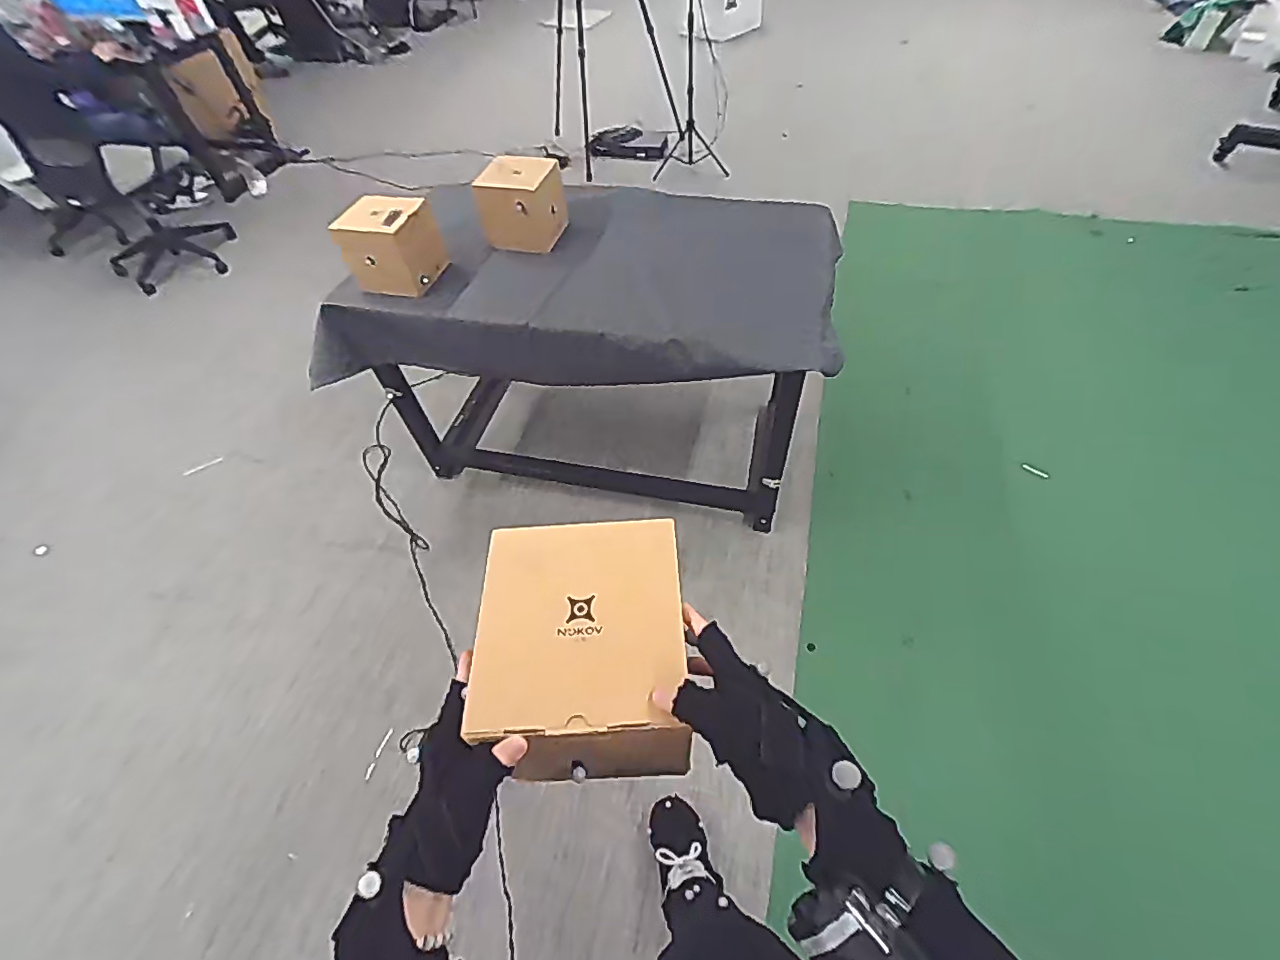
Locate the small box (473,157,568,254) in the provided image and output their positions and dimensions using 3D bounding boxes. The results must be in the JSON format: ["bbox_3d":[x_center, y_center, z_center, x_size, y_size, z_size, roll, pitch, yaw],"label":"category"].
[{"bbox_3d":[-0.302,-0.716,1.417,0.179,0.176,0.168,11,55,12],"label":"small box"}]

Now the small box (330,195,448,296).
[{"bbox_3d":[-0.604,-0.573,1.332,0.179,0.176,0.168,9,53,12],"label":"small box"}]
